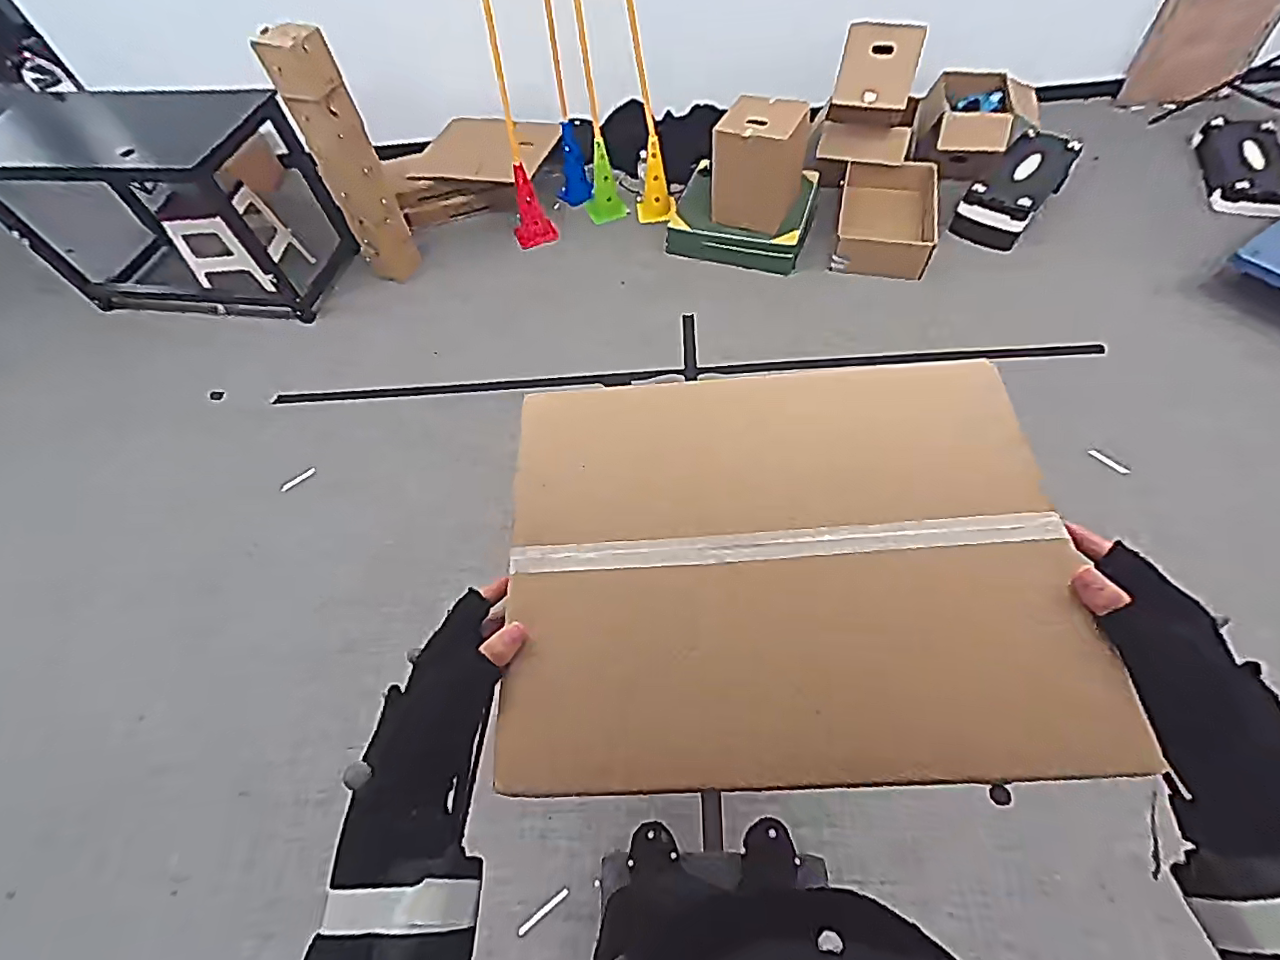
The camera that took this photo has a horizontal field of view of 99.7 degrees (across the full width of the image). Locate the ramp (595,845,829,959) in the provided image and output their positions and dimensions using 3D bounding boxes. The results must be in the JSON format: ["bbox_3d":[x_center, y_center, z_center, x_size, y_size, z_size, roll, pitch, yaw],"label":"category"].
[{"bbox_3d":[0.153,1.277,1.016,0.509,0.206,0.991,-3,58,1],"label":"ramp"}]

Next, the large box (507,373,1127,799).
[{"bbox_3d":[0.115,0.123,0.544,0.408,0.320,0.320,-4,62,3],"label":"large box"}]
